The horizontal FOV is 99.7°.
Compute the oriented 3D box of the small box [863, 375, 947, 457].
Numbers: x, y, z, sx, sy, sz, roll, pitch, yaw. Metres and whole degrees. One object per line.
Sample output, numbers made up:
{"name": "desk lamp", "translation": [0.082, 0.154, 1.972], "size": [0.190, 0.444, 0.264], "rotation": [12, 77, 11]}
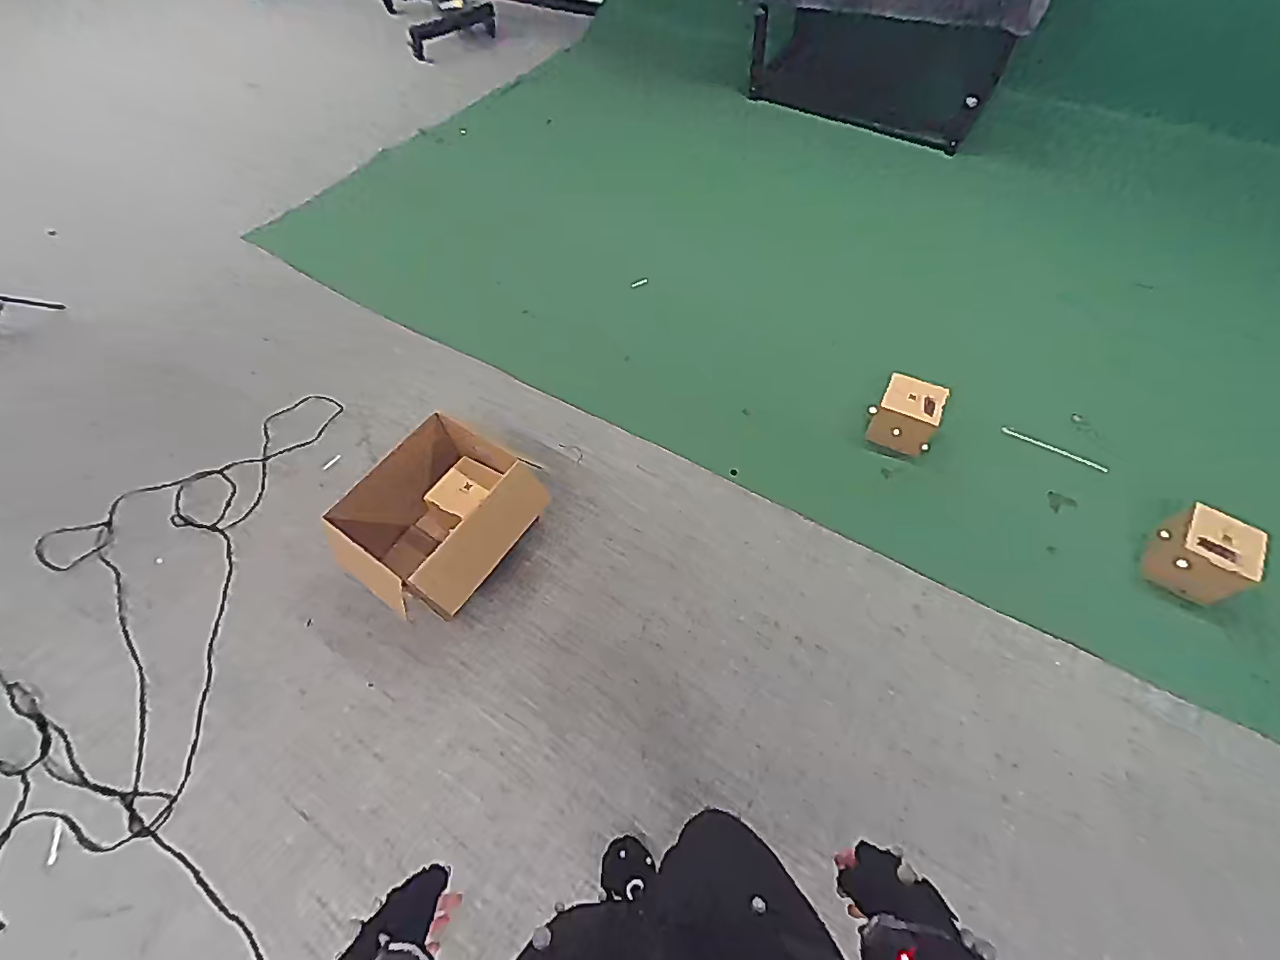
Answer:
{"name": "small box", "translation": [0.849, -0.200, 1.742], "size": [0.179, 0.176, 0.168], "rotation": [24, 60, 17]}
